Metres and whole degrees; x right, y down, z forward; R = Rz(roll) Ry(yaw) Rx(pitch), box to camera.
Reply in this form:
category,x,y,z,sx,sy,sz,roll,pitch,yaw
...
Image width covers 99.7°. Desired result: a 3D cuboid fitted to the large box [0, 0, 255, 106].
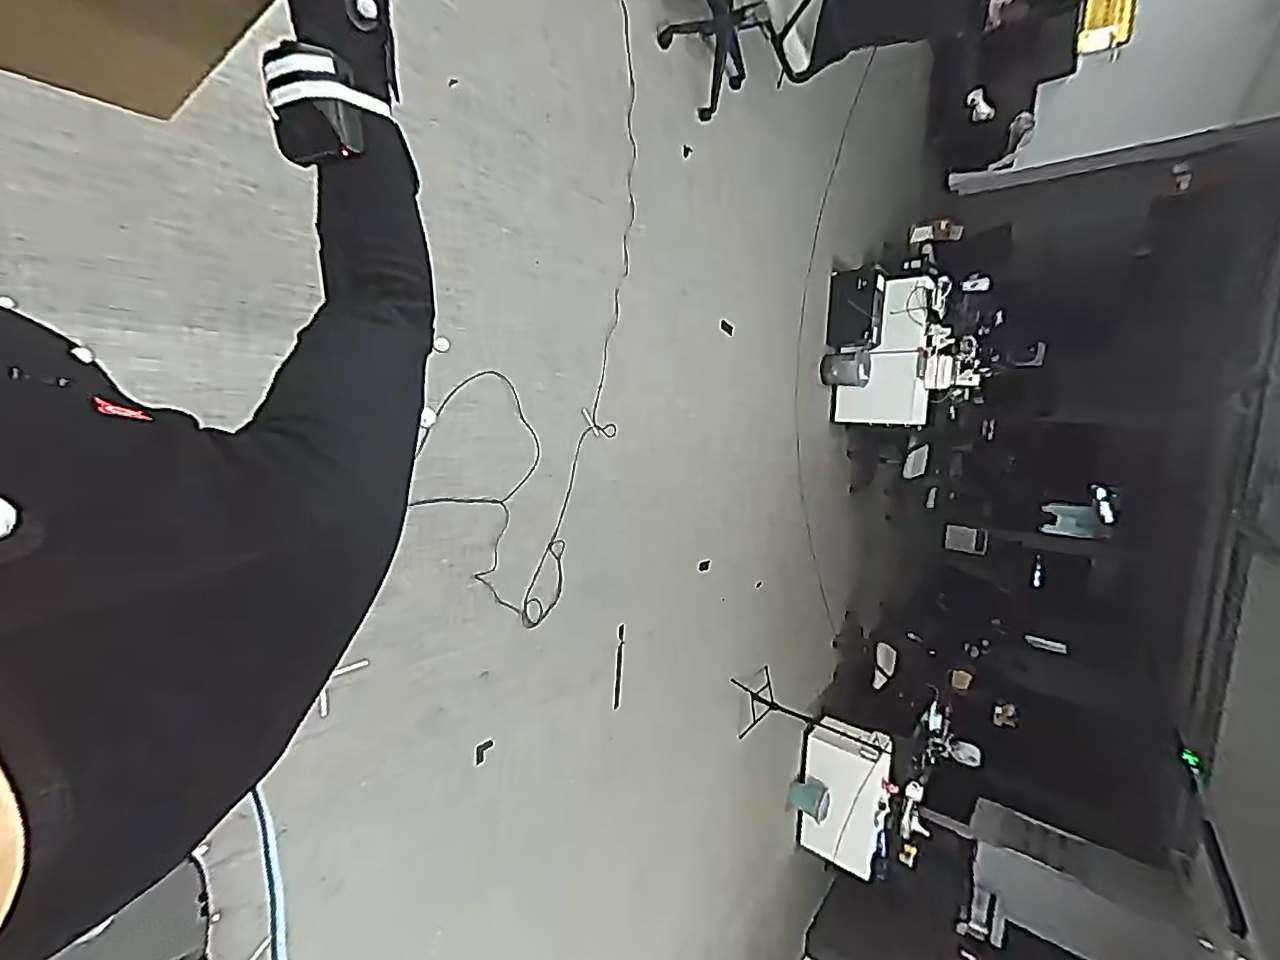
category,x,y,z,sx,sy,sz,roll,pitch,yaw
large box,-0.472,-0.471,0.266,0.408,0.320,0.320,-11,106,-52
